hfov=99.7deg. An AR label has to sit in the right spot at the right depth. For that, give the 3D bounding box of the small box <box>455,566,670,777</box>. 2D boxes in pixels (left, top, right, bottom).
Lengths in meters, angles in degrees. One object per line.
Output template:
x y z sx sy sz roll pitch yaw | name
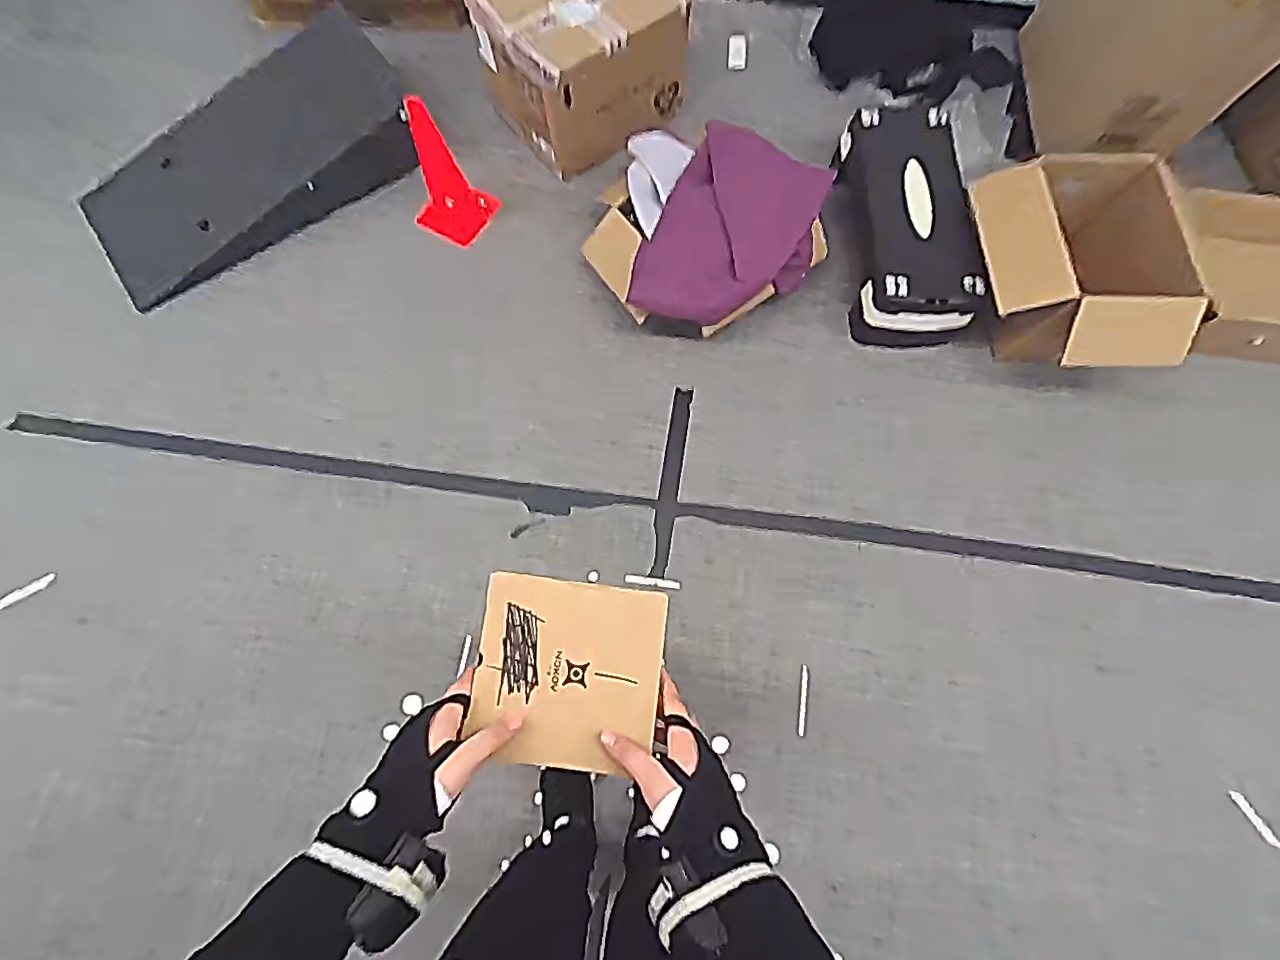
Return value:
-0.069 0.189 0.567 0.179 0.176 0.168 7 77 -1 | small box
